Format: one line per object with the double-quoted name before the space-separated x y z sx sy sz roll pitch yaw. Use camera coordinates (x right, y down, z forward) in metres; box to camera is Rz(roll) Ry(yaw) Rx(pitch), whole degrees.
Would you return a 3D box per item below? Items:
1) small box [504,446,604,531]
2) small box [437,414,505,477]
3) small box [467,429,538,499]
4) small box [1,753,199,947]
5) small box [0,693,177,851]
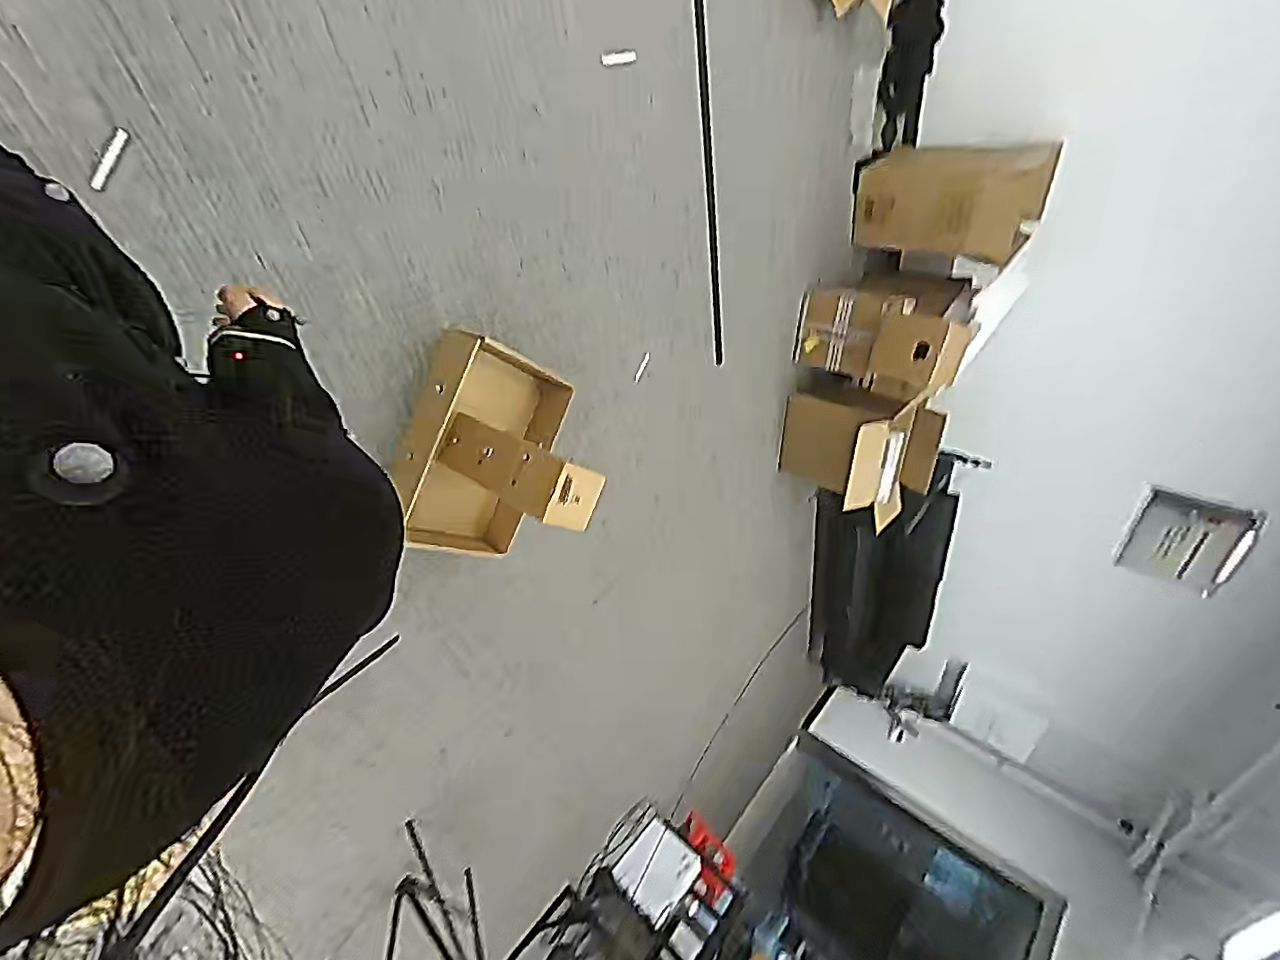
"small box" -0.235 0.020 1.459 0.179 0.176 0.168 23 91 -55
"small box" -0.478 -0.086 1.649 0.179 0.176 0.168 27 87 -53
"small box" -0.359 -0.032 1.554 0.179 0.176 0.168 24 89 -52
"small box" -0.843 0.551 0.843 0.168 0.176 0.179 29 85 -52
"small box" -0.960 0.489 0.941 0.168 0.176 0.179 29 86 -53
